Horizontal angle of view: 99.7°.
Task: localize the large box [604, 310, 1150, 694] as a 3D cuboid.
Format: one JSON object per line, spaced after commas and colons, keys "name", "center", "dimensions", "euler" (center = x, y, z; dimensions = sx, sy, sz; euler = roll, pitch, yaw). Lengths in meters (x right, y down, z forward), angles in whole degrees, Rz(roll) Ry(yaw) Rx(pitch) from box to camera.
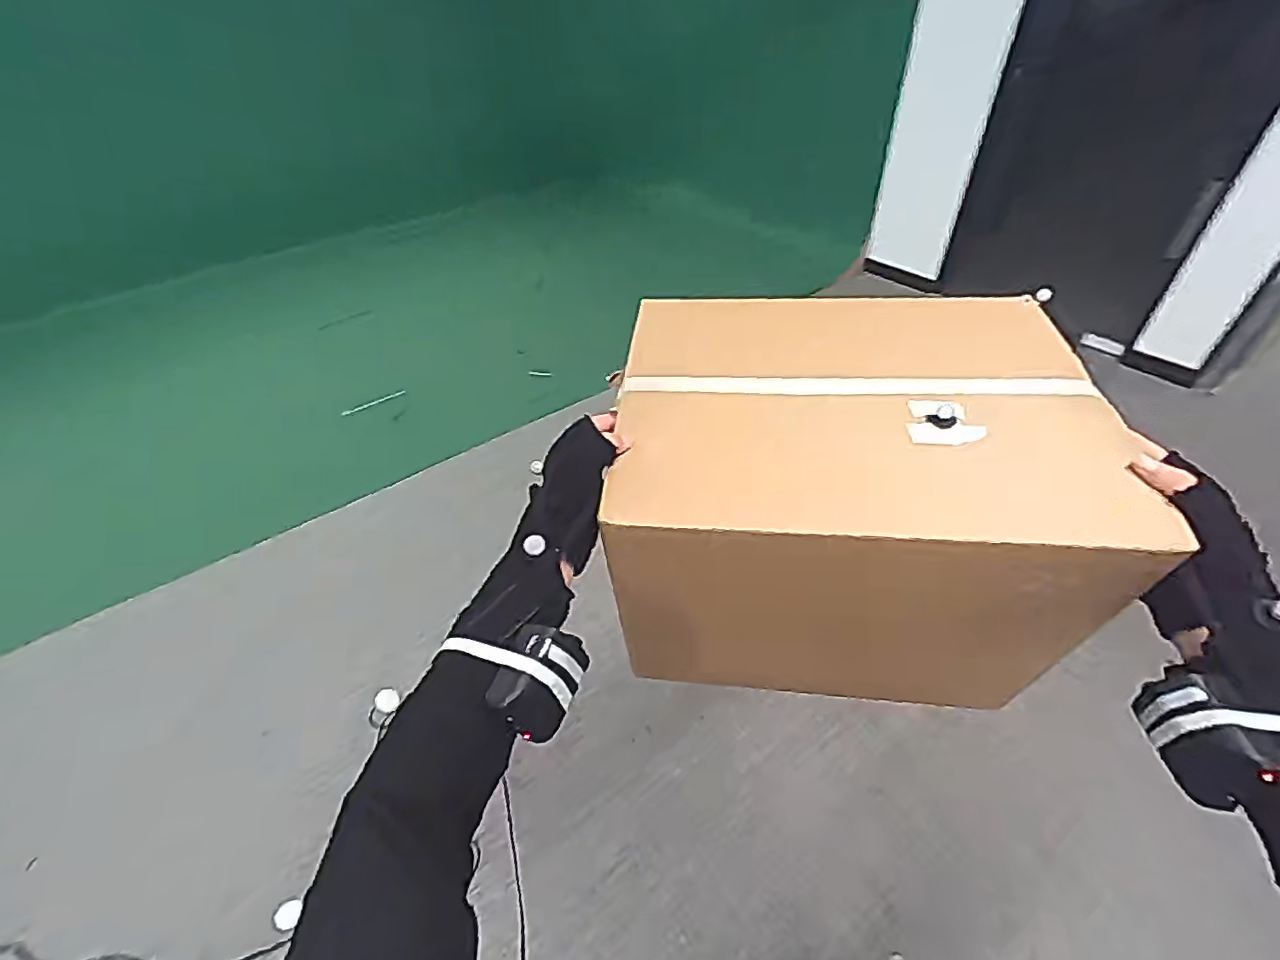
{"name": "large box", "center": [0.186, 0.026, 0.608], "dimensions": [0.408, 0.320, 0.320], "euler": [2, 49, 6]}
